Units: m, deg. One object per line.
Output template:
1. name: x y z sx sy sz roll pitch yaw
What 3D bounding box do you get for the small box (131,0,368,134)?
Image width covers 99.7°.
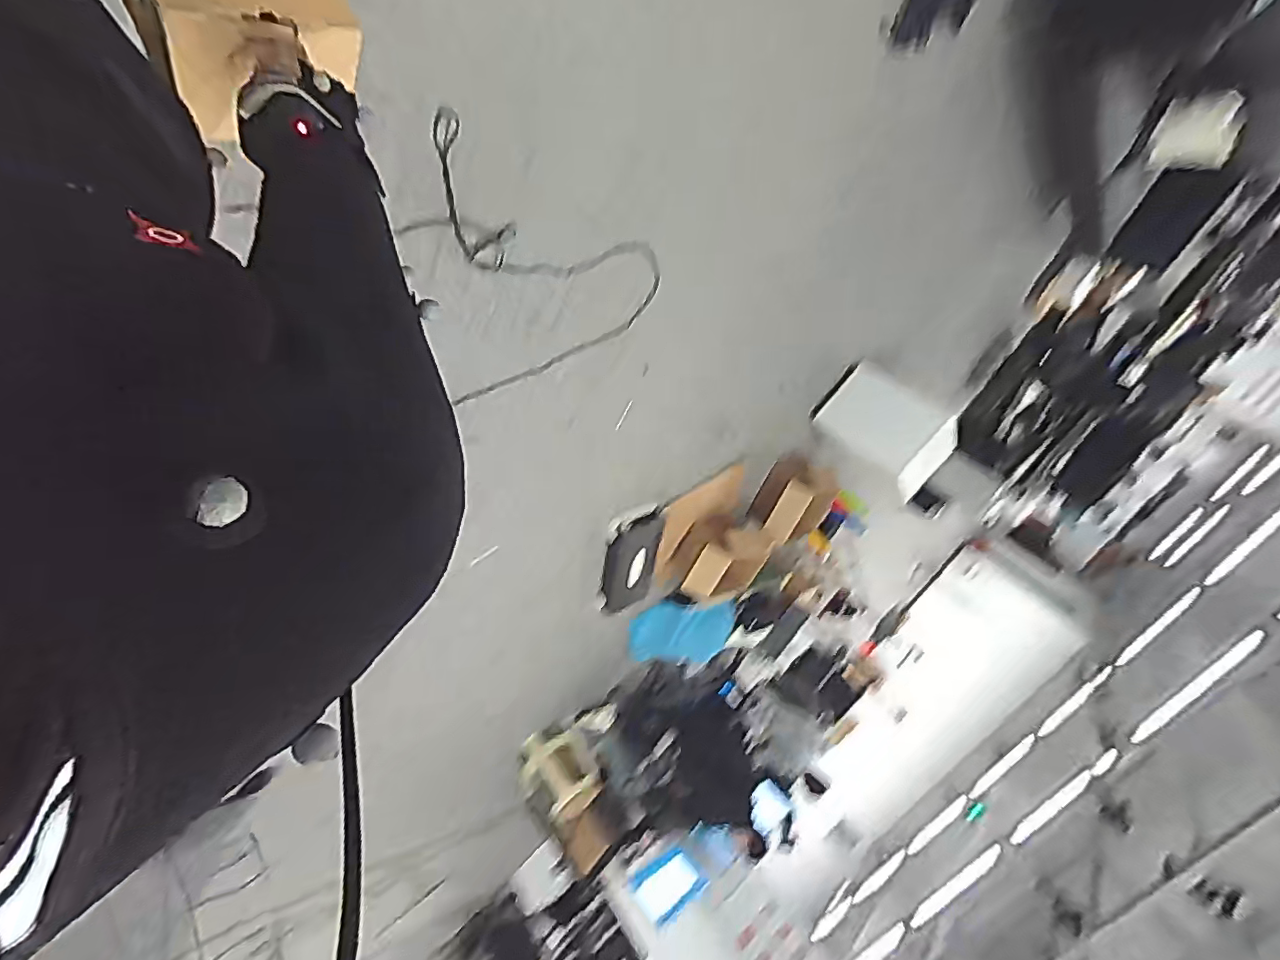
1. small box: -0.404 -0.489 0.544 0.168 0.176 0.179 -26 99 -34
